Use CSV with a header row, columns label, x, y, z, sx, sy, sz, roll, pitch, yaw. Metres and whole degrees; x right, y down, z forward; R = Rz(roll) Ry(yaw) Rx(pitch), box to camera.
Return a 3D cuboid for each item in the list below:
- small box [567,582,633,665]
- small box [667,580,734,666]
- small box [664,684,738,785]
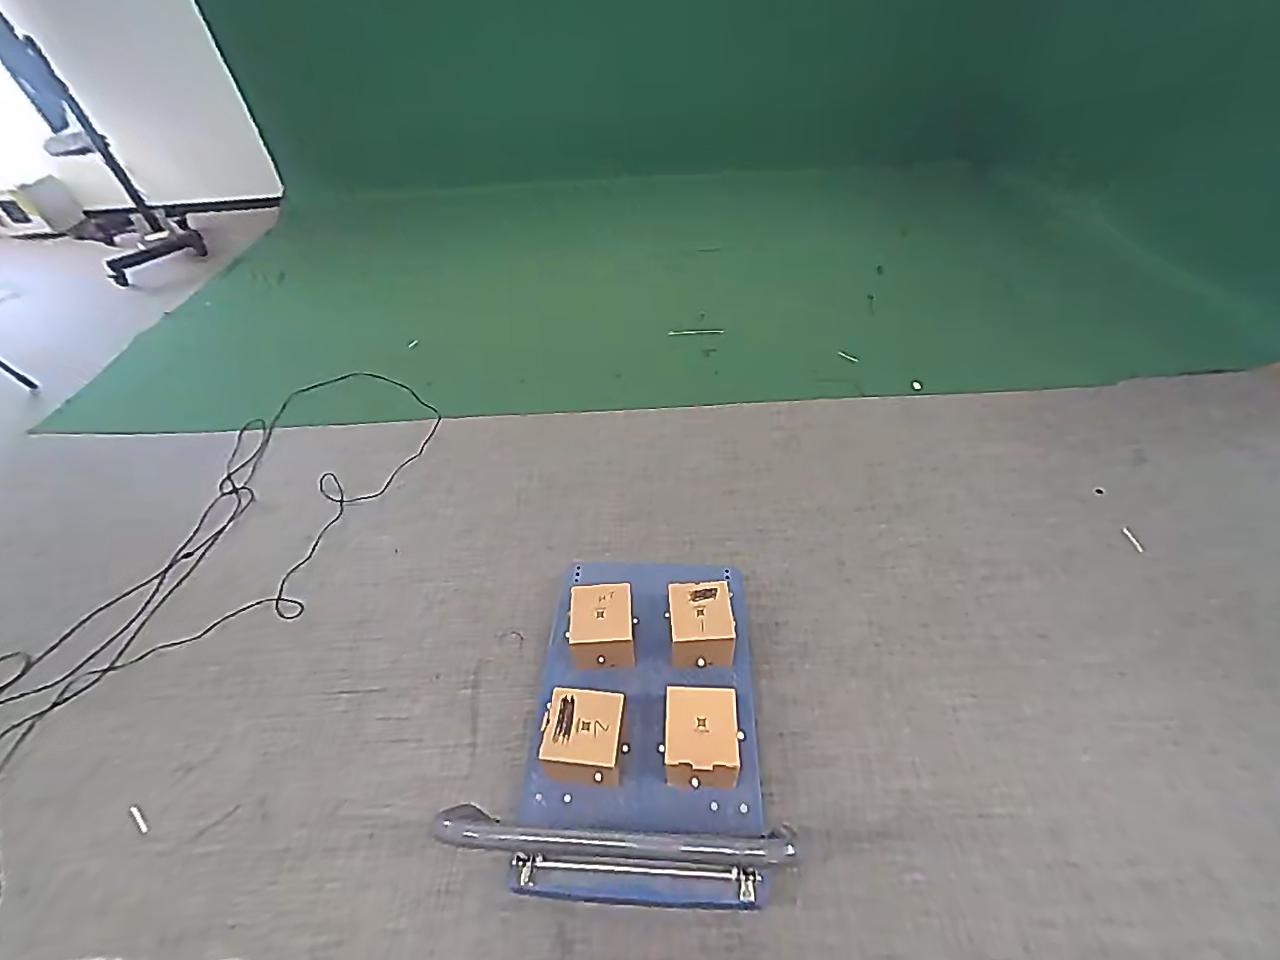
label,x,y,z,sx,sy,sz,roll,pitch,yaw
small box,-0.107,0.407,1.517,0.168,0.176,0.179,-3,47,0
small box,0.162,0.399,1.509,0.168,0.176,0.179,-3,47,1
small box,0.142,0.615,1.308,0.168,0.176,0.179,1,47,4
